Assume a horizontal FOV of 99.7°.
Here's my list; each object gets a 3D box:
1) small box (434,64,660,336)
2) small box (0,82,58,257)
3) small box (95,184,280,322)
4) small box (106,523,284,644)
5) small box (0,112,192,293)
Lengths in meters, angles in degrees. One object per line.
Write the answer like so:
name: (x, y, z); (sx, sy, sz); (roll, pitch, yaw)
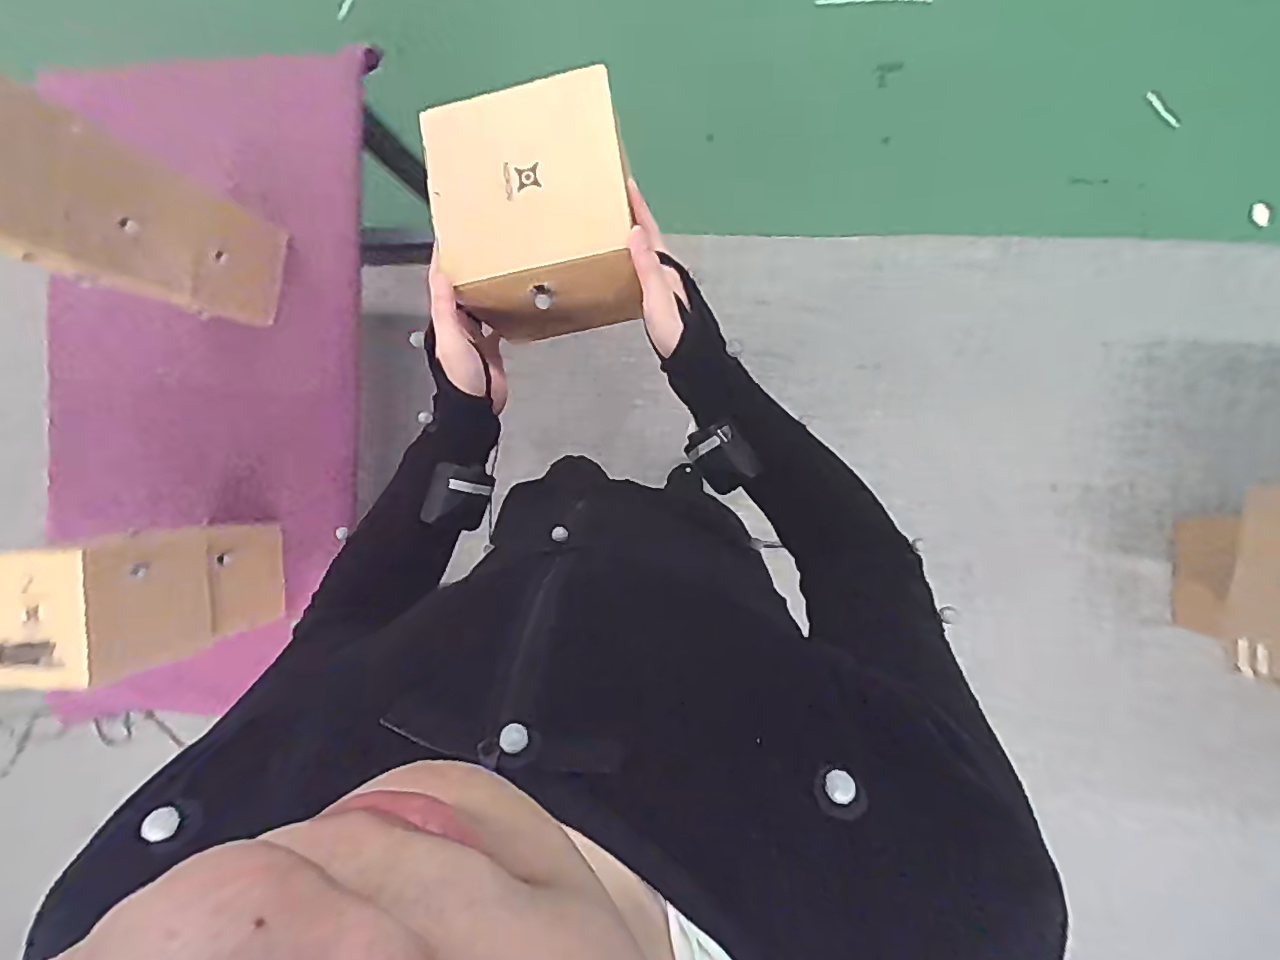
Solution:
small box: (-0.077, -0.258, 0.542); (0.179, 0.176, 0.168); (-8, 87, 8)
small box: (-0.784, -0.362, 0.574); (0.168, 0.176, 0.179); (9, 95, 7)
small box: (-0.741, -0.377, 0.899); (0.168, 0.176, 0.179); (13, 94, 6)
small box: (-0.747, 0.167, 0.925); (0.168, 0.176, 0.179); (-2, 93, 8)
small box: (-0.761, -0.369, 0.737); (0.168, 0.176, 0.179); (10, 95, 6)
